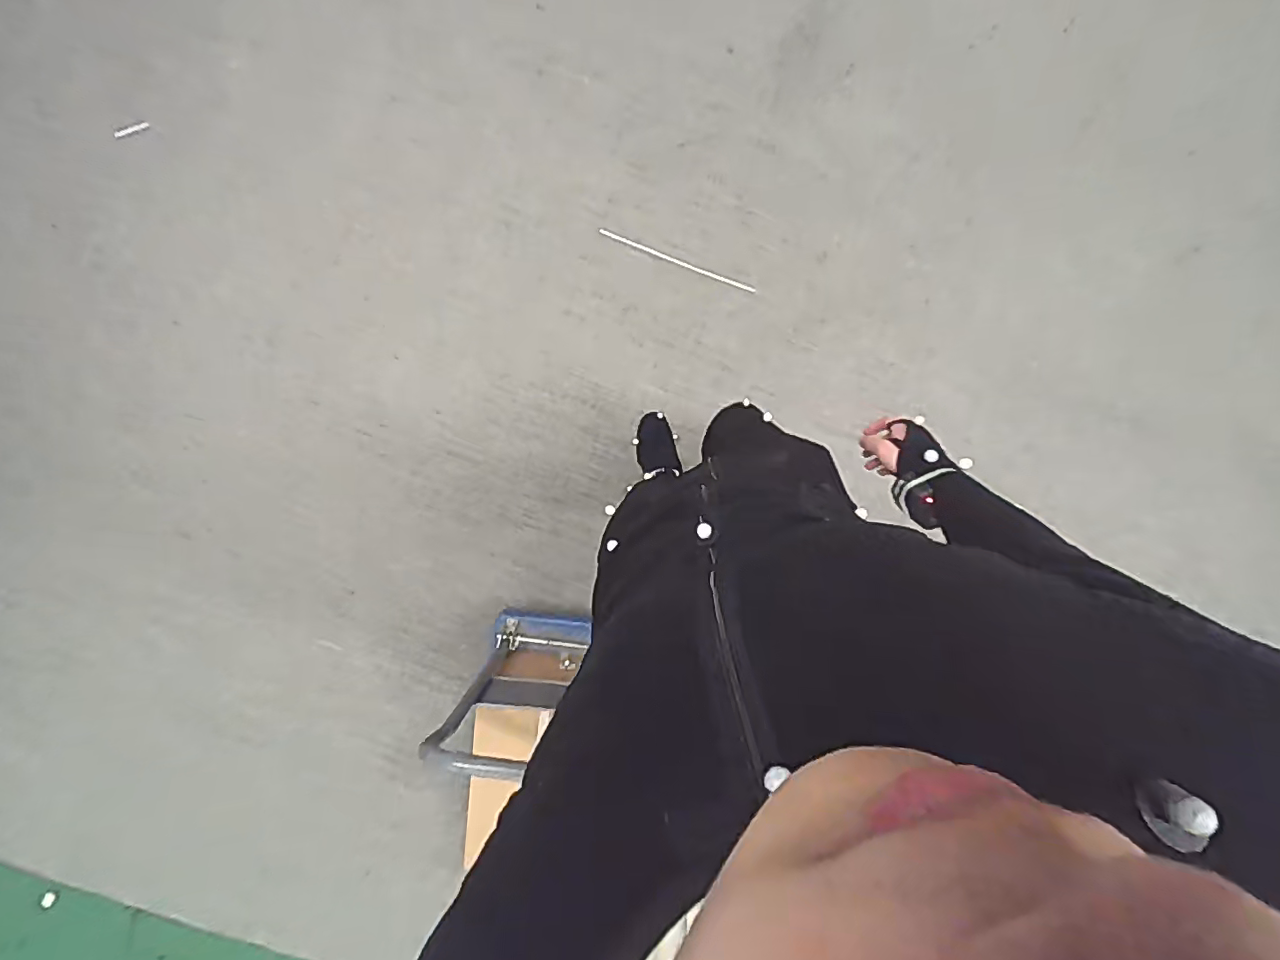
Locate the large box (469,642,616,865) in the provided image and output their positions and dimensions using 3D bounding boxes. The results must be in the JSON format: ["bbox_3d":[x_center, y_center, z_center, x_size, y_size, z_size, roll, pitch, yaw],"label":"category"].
[{"bbox_3d":[-0.229,0.664,1.370,0.320,0.320,0.408,5,97,-2],"label":"large box"}]
